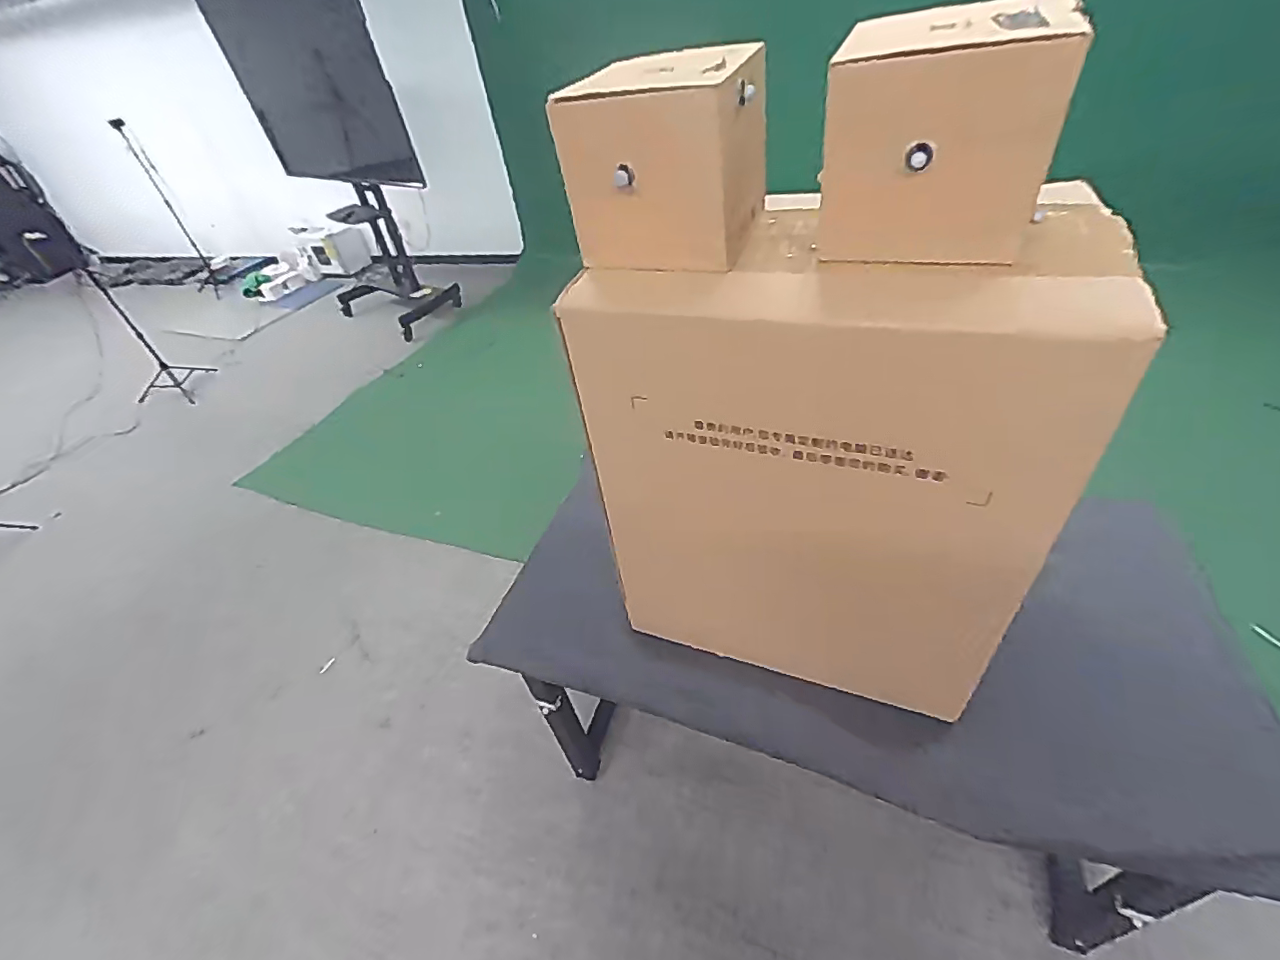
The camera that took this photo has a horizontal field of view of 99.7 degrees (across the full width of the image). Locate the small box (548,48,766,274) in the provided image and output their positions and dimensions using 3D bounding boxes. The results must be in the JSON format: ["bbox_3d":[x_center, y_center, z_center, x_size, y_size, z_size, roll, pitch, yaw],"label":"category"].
[{"bbox_3d":[0.032,-0.341,0.593,0.179,0.176,0.168,11,50,23],"label":"small box"}]

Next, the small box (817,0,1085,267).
[{"bbox_3d":[0.274,-0.315,0.507,0.179,0.176,0.168,11,50,24],"label":"small box"}]
